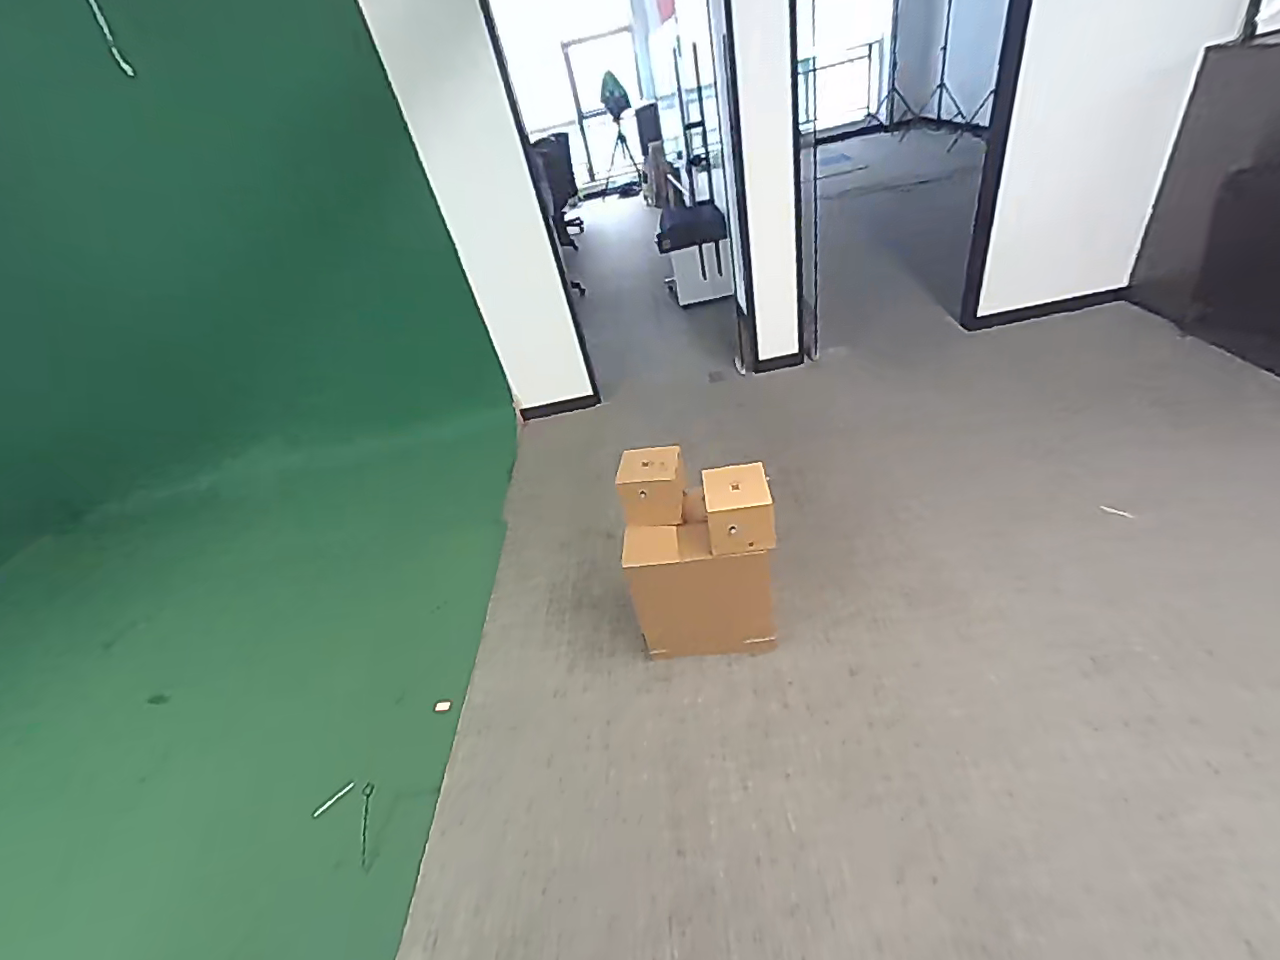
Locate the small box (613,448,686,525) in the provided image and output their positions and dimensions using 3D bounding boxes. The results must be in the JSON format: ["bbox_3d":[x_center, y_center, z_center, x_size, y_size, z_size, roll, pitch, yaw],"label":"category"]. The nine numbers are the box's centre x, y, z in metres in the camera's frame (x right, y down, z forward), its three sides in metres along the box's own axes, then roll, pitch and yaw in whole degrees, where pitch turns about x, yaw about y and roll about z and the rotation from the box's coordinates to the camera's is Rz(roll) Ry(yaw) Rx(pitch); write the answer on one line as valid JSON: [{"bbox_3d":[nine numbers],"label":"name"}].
[{"bbox_3d":[0.035,0.023,1.614,0.179,0.176,0.168,-4,38,13],"label":"small box"}]

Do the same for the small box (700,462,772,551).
[{"bbox_3d":[0.260,0.078,1.465,0.168,0.176,0.179,-8,37,7],"label":"small box"}]
